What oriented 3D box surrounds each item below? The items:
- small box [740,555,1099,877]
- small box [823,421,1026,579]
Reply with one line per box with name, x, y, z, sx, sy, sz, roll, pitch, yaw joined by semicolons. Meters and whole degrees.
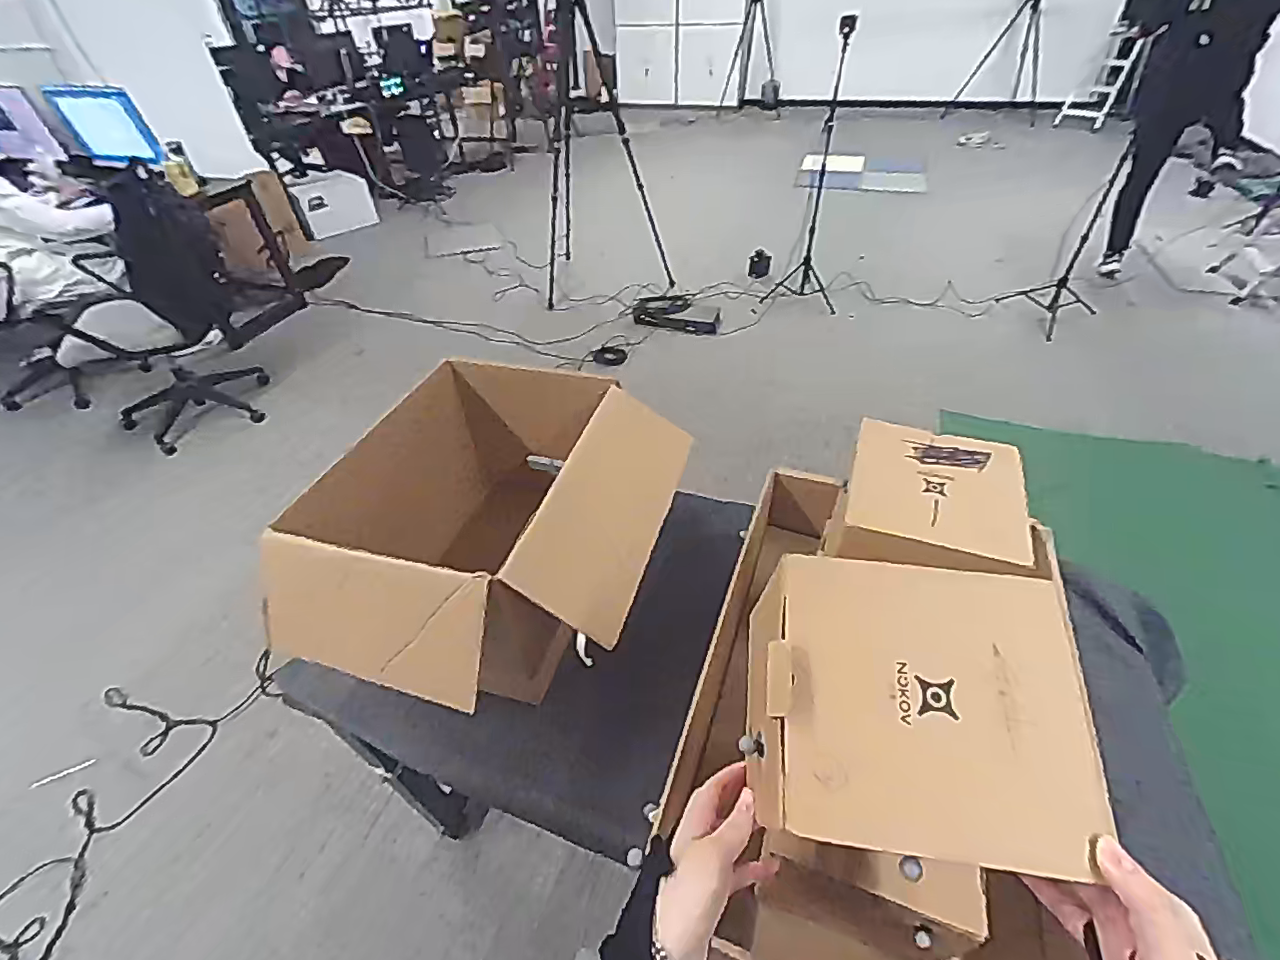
small box;0.173;0.166;0.401;0.179;0.176;0.168;6;65;4
small box;0.311;0.063;0.625;0.168;0.176;0.179;15;49;17
